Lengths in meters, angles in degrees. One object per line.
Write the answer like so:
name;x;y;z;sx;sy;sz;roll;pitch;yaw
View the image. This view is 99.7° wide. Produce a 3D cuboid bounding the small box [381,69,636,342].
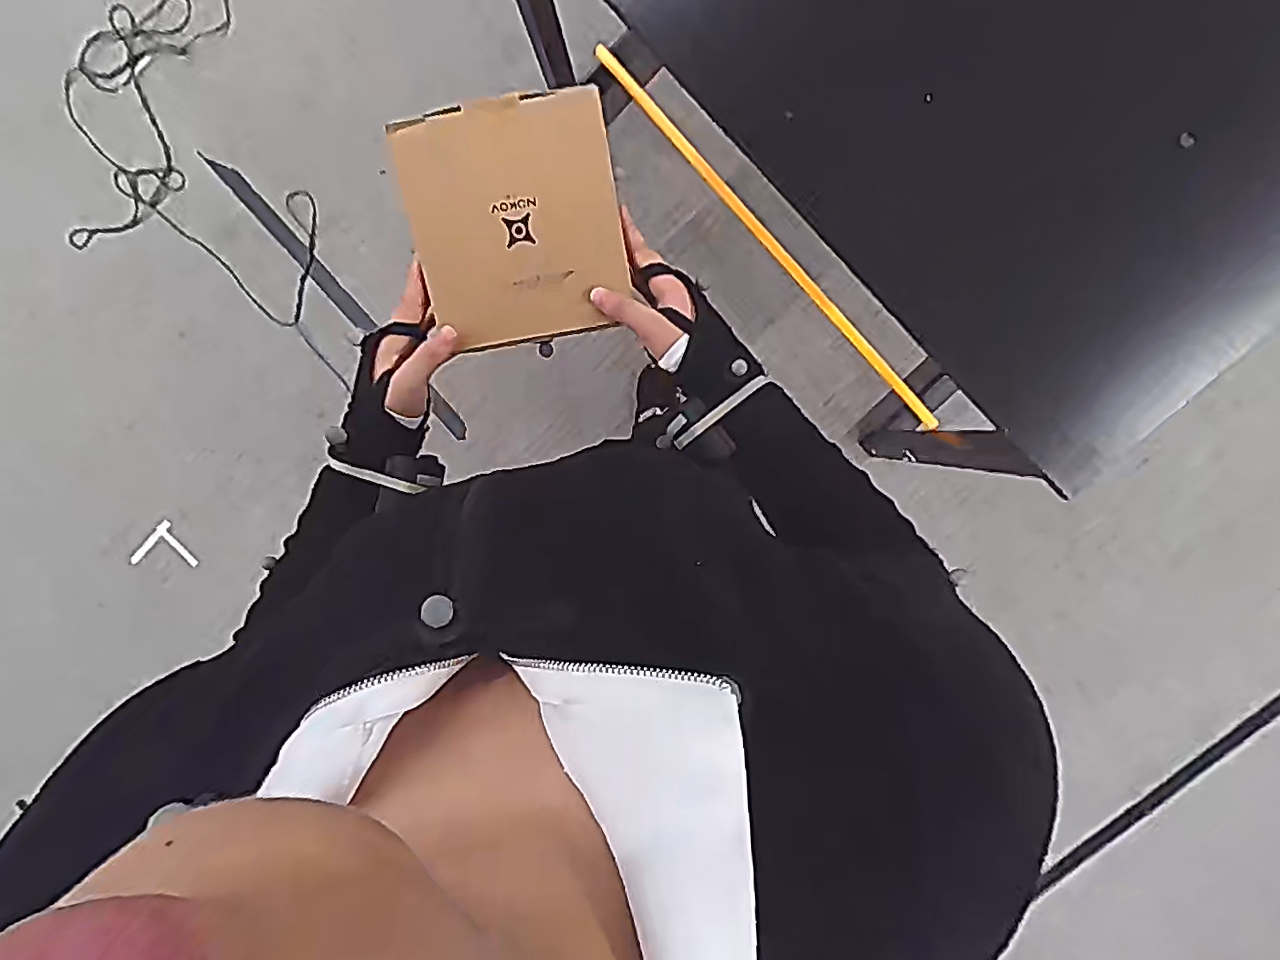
small box;-0.102;-0.226;0.493;0.168;0.176;0.179;-11;106;-1
